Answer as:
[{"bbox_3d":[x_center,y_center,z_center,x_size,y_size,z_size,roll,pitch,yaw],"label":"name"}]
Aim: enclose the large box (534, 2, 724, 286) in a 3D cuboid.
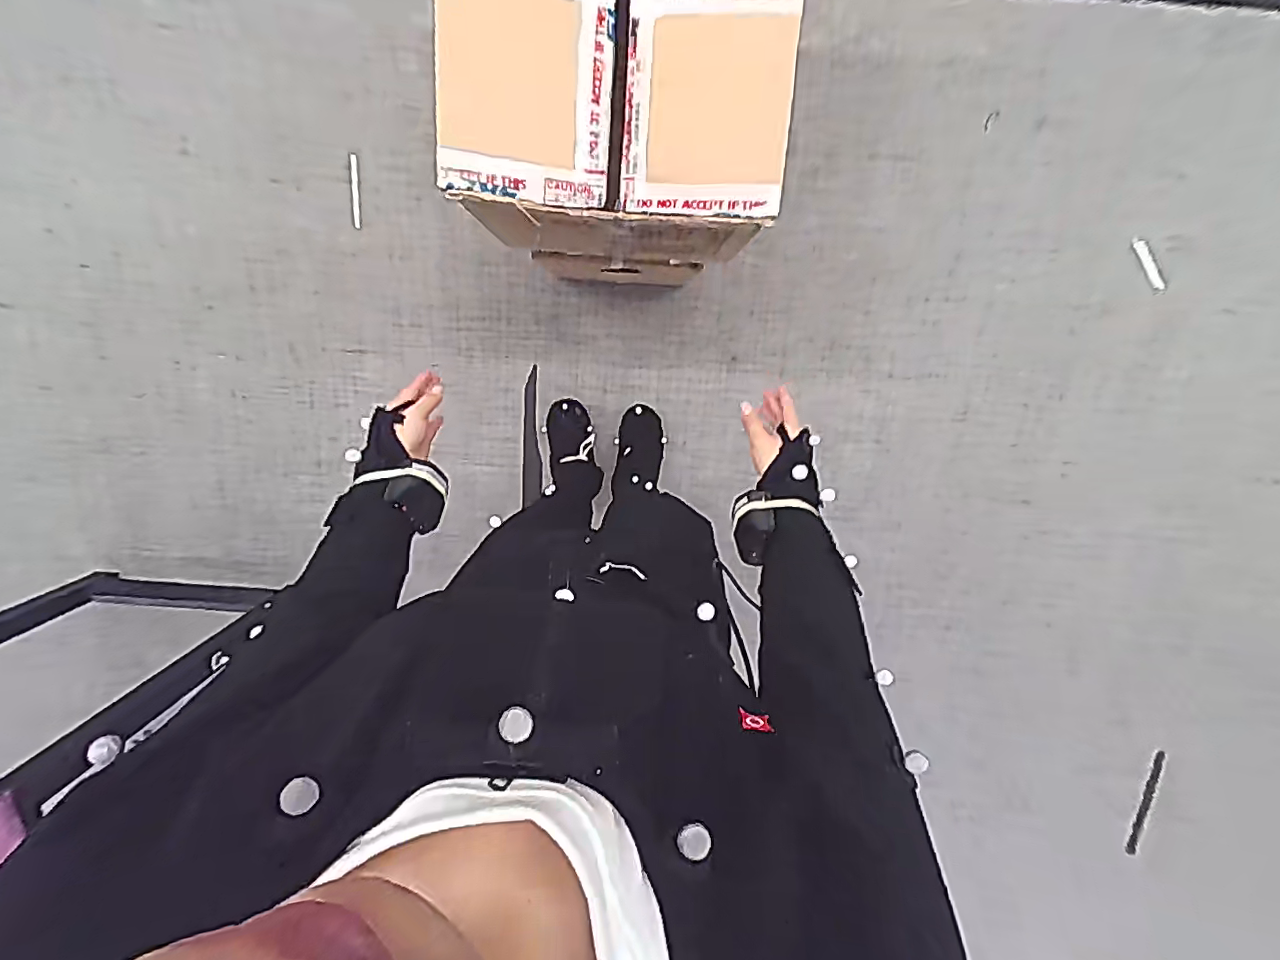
[{"bbox_3d":[-0.024,-0.615,1.066,0.320,0.320,0.408,3,105,0],"label":"large box"}]
